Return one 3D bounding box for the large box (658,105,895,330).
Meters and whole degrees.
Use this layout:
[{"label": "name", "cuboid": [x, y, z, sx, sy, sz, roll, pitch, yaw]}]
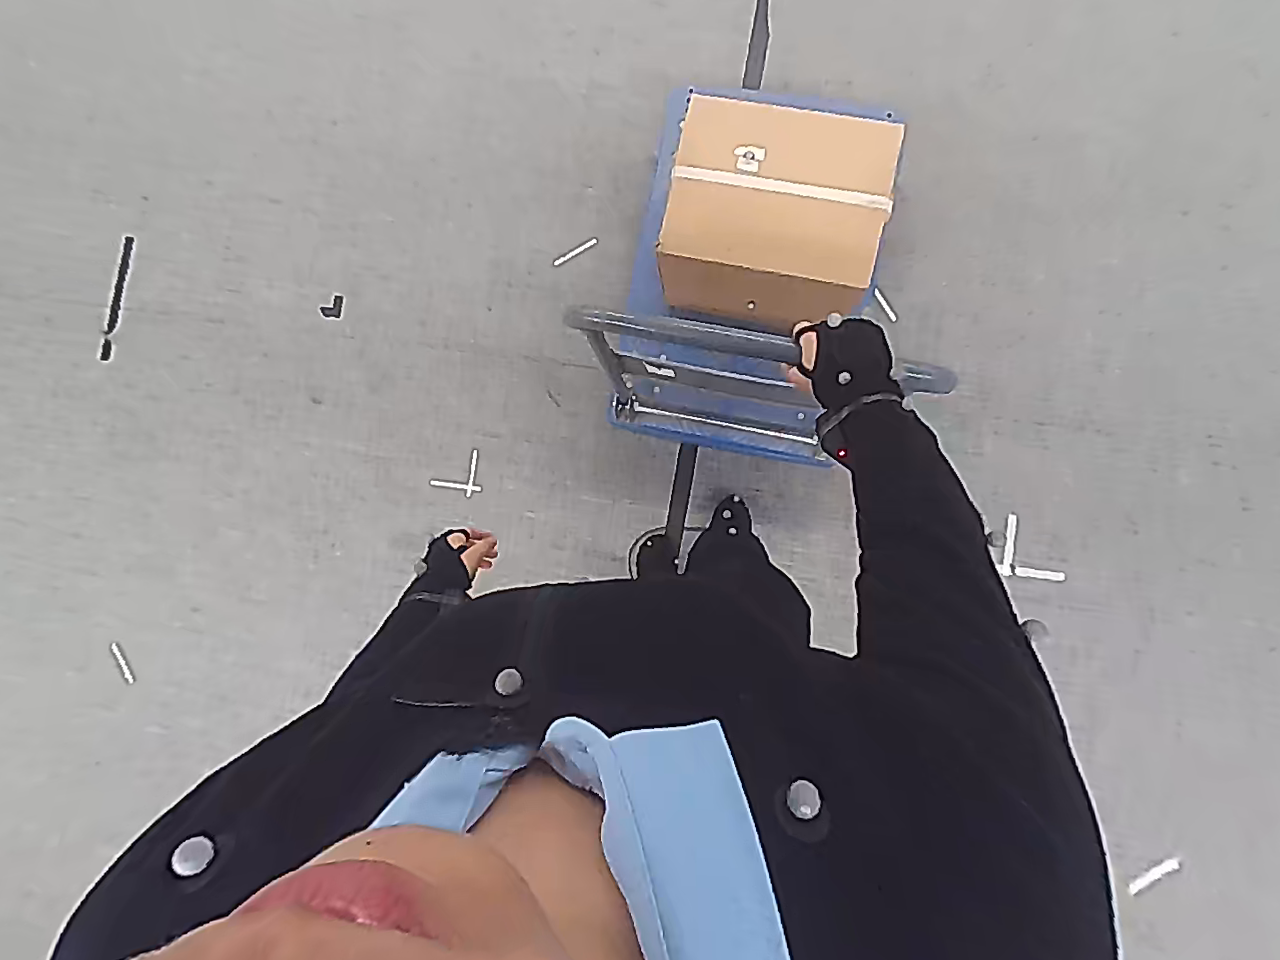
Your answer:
[{"label": "large box", "cuboid": [0.277, -0.547, 1.181, 0.408, 0.320, 0.320, 12, 89, 8]}]
